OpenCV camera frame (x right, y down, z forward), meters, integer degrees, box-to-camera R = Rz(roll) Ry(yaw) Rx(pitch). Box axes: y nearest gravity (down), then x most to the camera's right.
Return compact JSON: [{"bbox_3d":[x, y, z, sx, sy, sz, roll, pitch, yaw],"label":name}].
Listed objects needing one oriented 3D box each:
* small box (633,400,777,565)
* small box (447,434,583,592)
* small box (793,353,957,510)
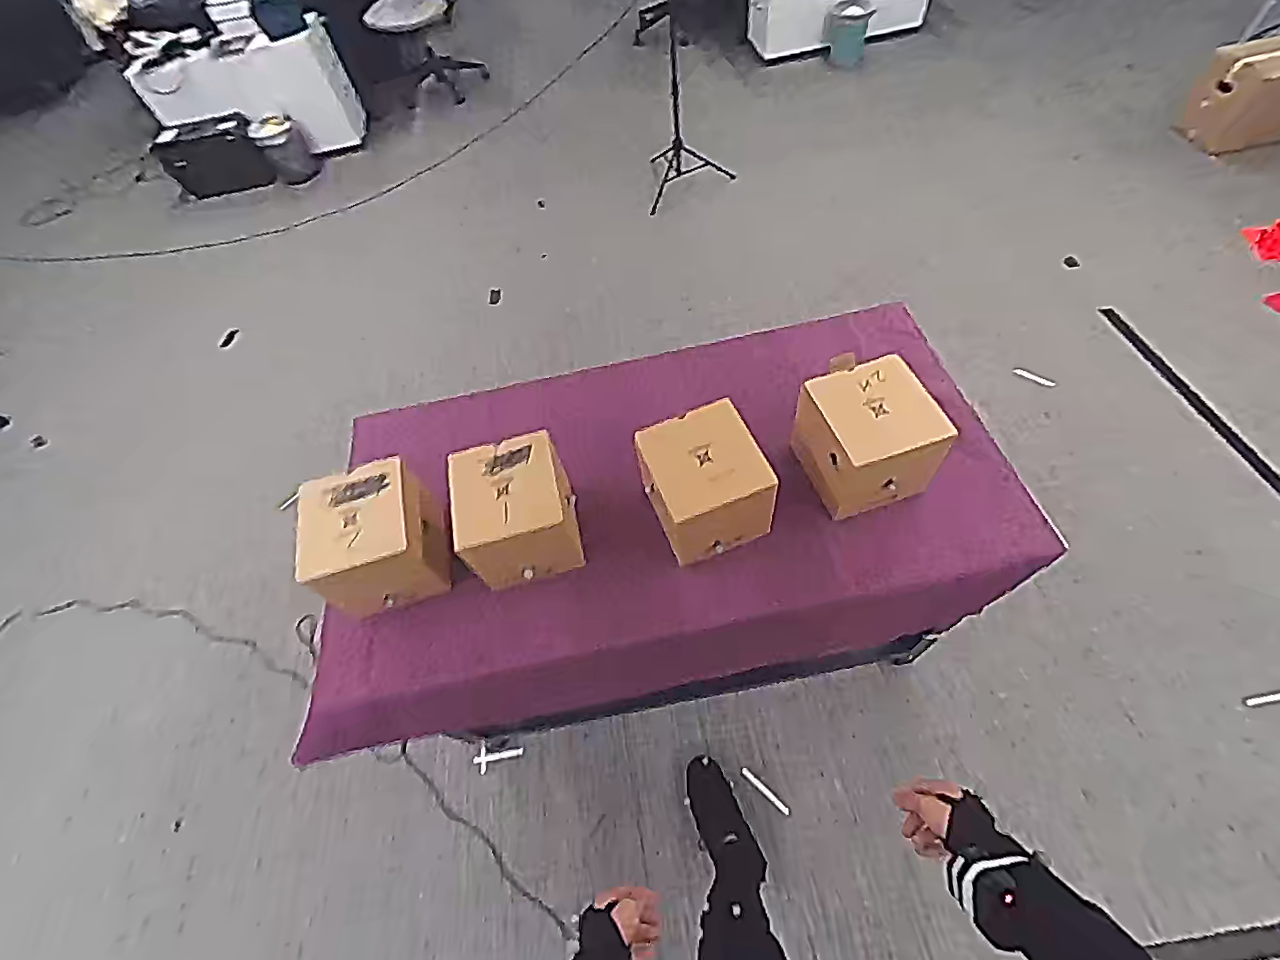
[{"bbox_3d":[0.101,0.009,0.874,0.168,0.176,0.179,-22,57,-5],"label":"small box"},{"bbox_3d":[-0.201,0.058,0.885,0.168,0.176,0.179,-16,58,-2],"label":"small box"},{"bbox_3d":[0.366,-0.069,0.883,0.168,0.176,0.179,-18,57,-3],"label":"small box"}]
